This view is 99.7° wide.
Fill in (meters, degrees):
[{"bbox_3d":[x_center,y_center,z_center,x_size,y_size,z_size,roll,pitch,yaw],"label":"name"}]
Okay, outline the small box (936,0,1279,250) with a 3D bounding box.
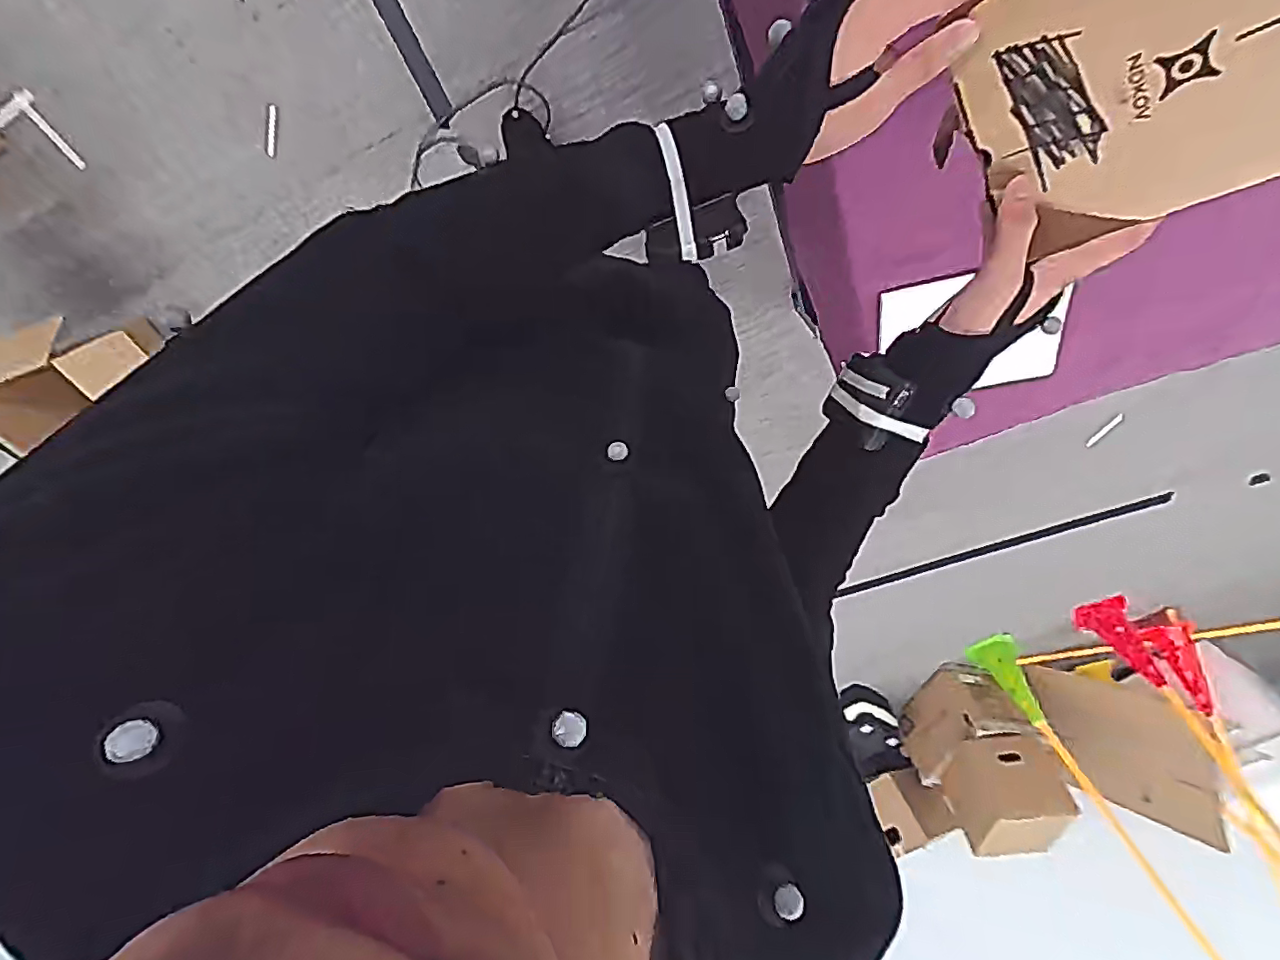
[{"bbox_3d":[0.299,-0.280,0.314,0.179,0.176,0.168,-11,134,45],"label":"small box"}]
